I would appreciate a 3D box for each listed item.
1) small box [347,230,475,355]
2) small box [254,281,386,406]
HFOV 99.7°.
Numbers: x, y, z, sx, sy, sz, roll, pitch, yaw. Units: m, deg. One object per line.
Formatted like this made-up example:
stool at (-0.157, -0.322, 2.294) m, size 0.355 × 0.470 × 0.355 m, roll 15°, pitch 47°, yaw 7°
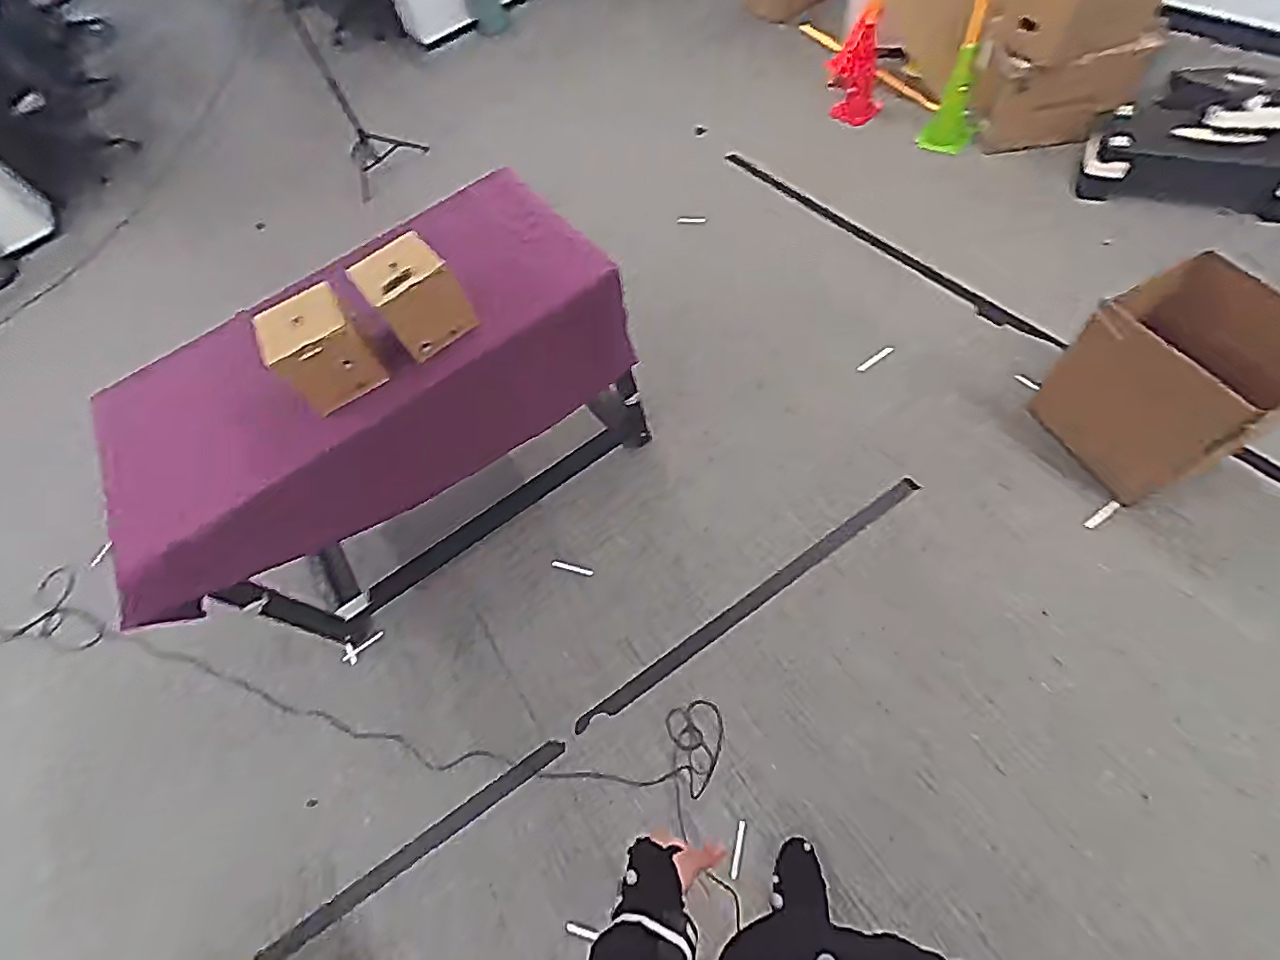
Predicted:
small box at (-0.497, -0.405, 1.193) m, size 0.168 × 0.176 × 0.179 m, roll -38°, pitch 60°, yaw -11°
small box at (-0.679, -0.283, 1.164) m, size 0.168 × 0.176 × 0.179 m, roll -31°, pitch 60°, yaw -8°
